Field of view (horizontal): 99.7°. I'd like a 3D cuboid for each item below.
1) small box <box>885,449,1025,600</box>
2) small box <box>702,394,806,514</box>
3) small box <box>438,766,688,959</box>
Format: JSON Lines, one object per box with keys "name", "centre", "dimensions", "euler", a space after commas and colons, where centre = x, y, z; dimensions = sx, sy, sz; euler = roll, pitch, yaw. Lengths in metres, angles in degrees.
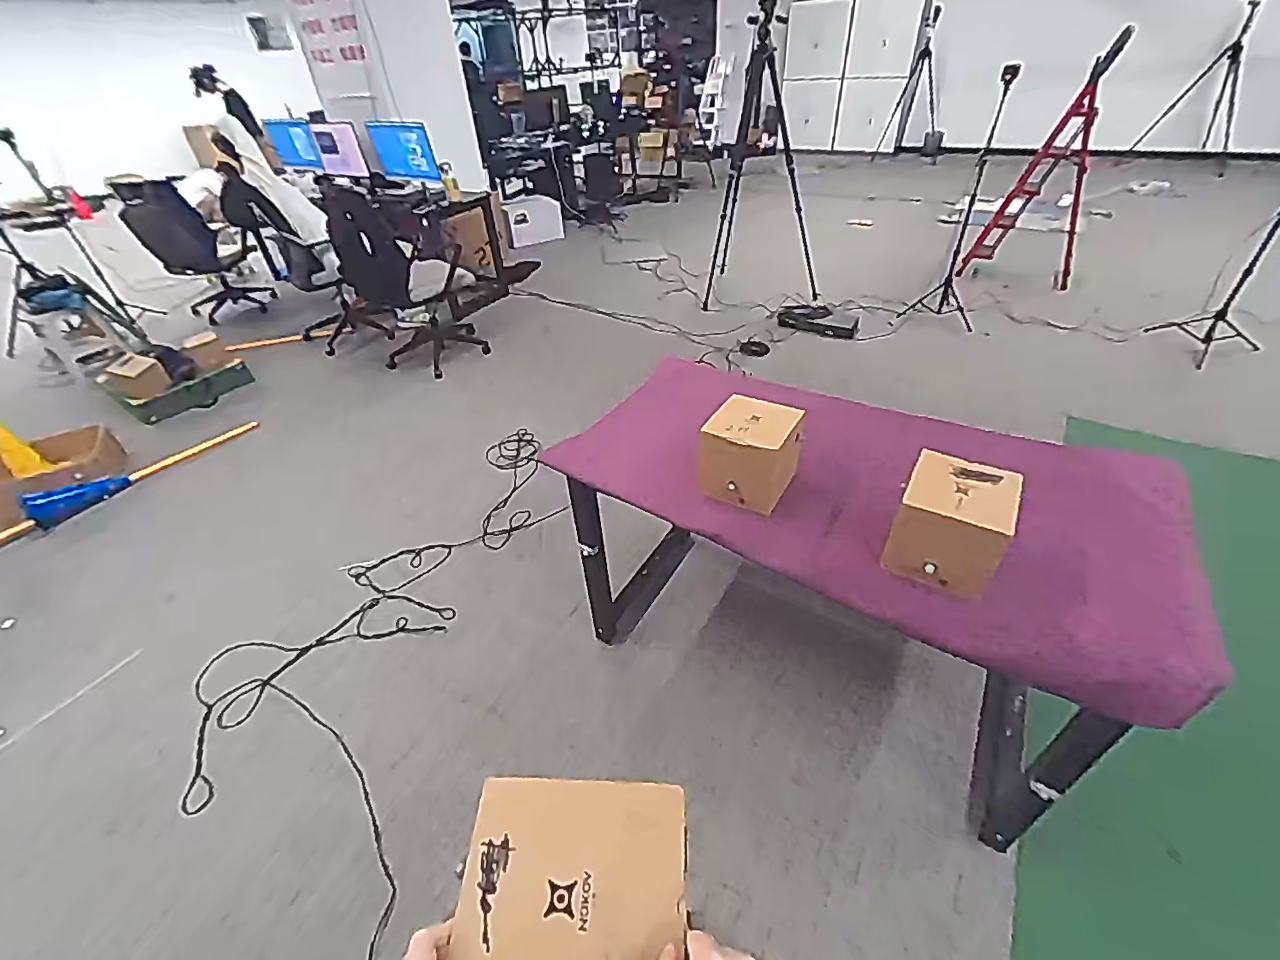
{"name": "small box", "centre": [0.552, 0.076, 0.961], "dimensions": [0.168, 0.176, 0.179], "euler": [19, 44, 27]}
{"name": "small box", "centre": [0.238, -0.059, 1.158], "dimensions": [0.168, 0.176, 0.179], "euler": [18, 42, 27]}
{"name": "small box", "centre": [-0.051, 0.361, 0.460], "dimensions": [0.179, 0.176, 0.168], "euler": [1, 46, 3]}
